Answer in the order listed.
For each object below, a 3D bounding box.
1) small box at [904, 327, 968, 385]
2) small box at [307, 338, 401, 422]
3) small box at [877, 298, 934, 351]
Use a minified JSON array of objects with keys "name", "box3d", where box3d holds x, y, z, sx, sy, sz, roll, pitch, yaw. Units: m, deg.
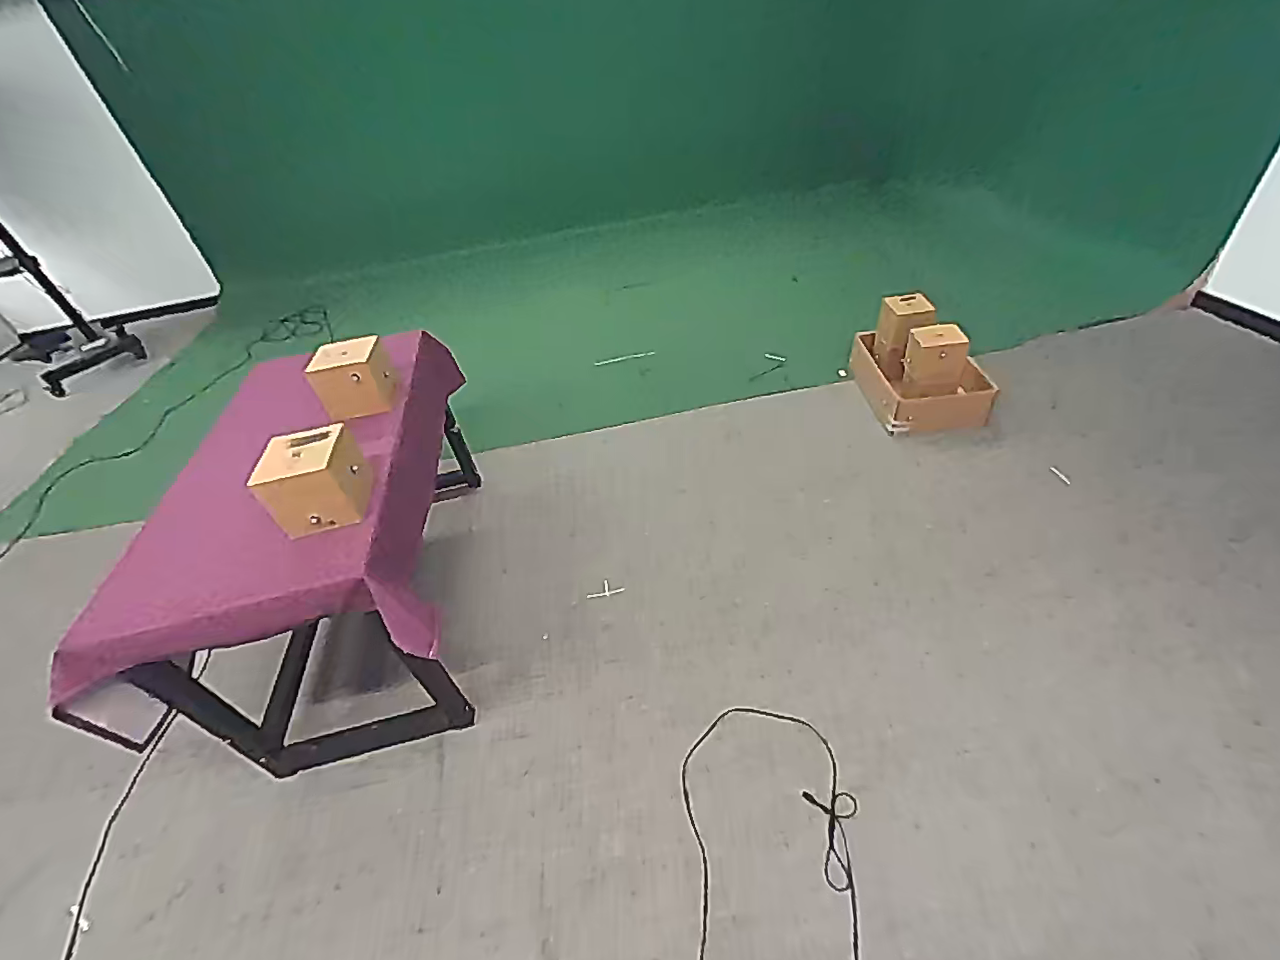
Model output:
[{"name":"small box","box3d":[1.214,-0.508,2.229,0.179,0.176,0.168,-5,40,10]},{"name":"small box","box3d":[-0.833,-0.294,1.599,0.179,0.176,0.168,-12,40,-1]},{"name":"small box","box3d":[1.198,-0.707,2.454,0.168,0.176,0.179,-6,42,3]}]
